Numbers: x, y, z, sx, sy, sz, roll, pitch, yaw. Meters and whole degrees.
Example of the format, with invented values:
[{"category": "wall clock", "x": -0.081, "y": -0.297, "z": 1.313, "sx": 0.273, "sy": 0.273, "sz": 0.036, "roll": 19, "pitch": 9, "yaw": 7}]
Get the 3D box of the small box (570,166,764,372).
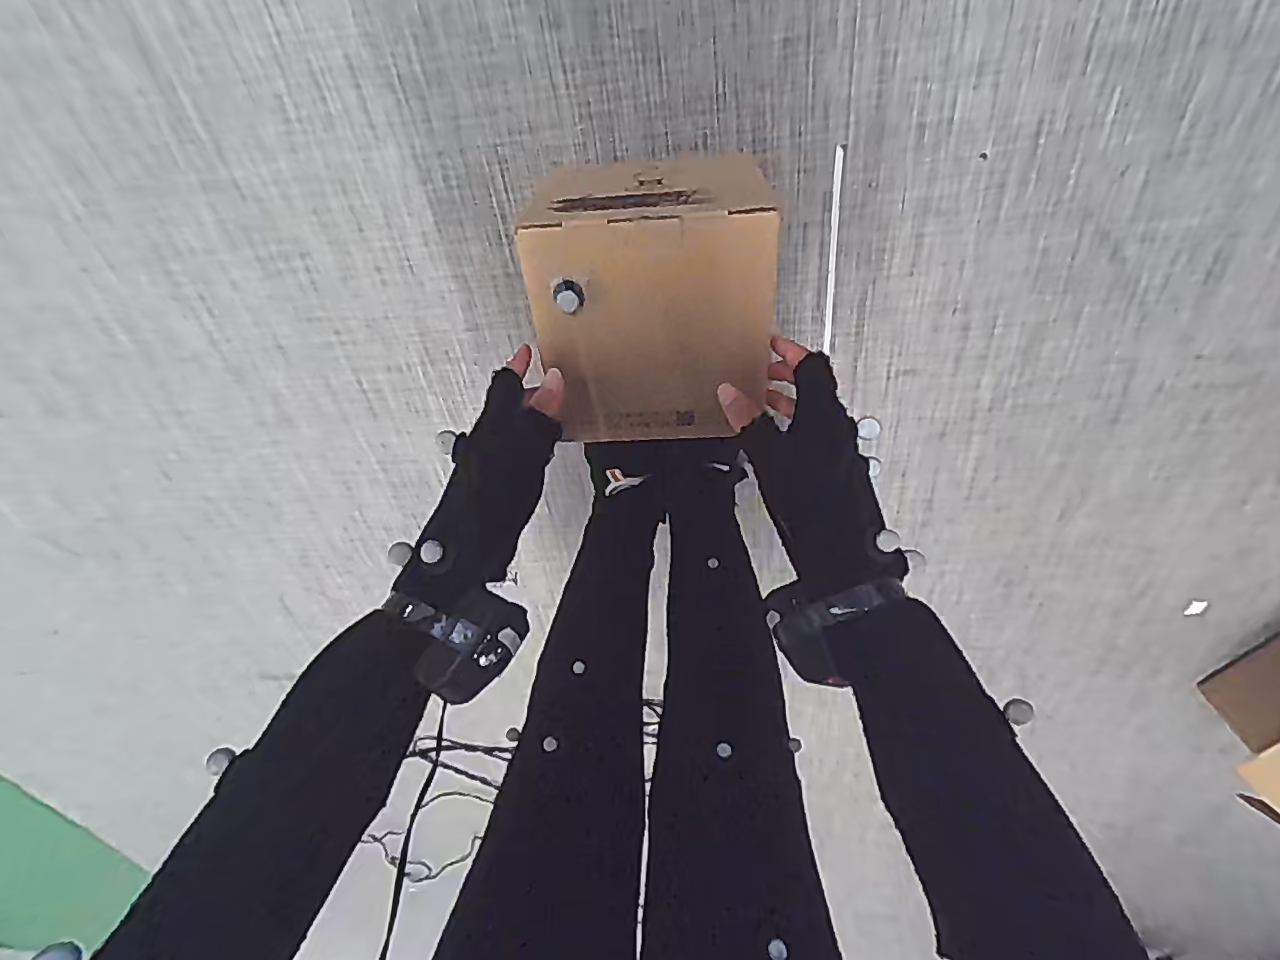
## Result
[{"category": "small box", "x": 0.037, "y": -0.241, "z": 0.610, "sx": 0.179, "sy": 0.176, "sz": 0.168, "roll": -7, "pitch": 122, "yaw": 11}]
